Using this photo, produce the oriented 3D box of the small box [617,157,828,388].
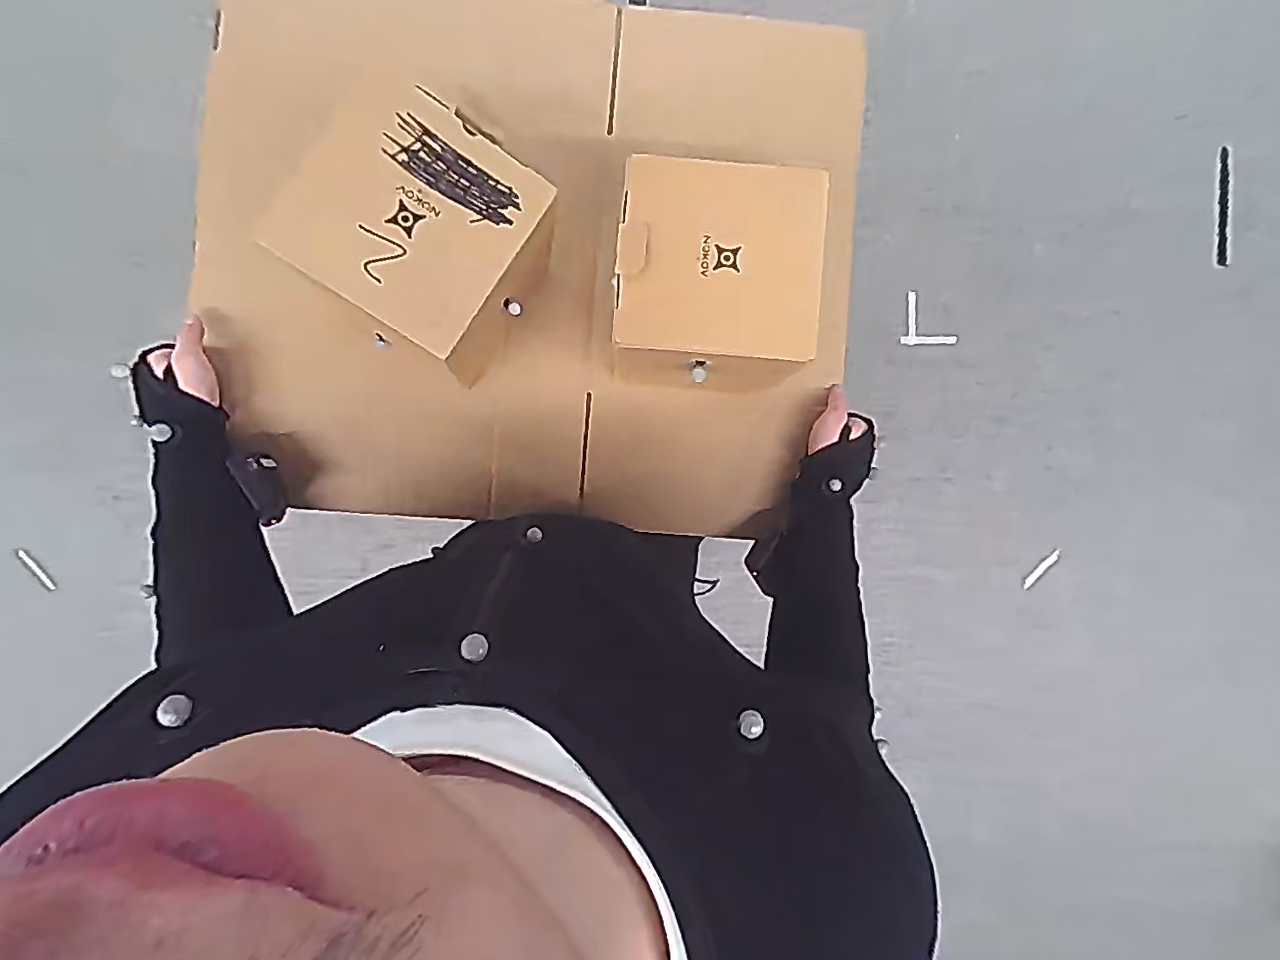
[{"bbox_3d":[0.071,-0.194,0.554,0.179,0.176,0.168,5,89,-1],"label":"small box"}]
